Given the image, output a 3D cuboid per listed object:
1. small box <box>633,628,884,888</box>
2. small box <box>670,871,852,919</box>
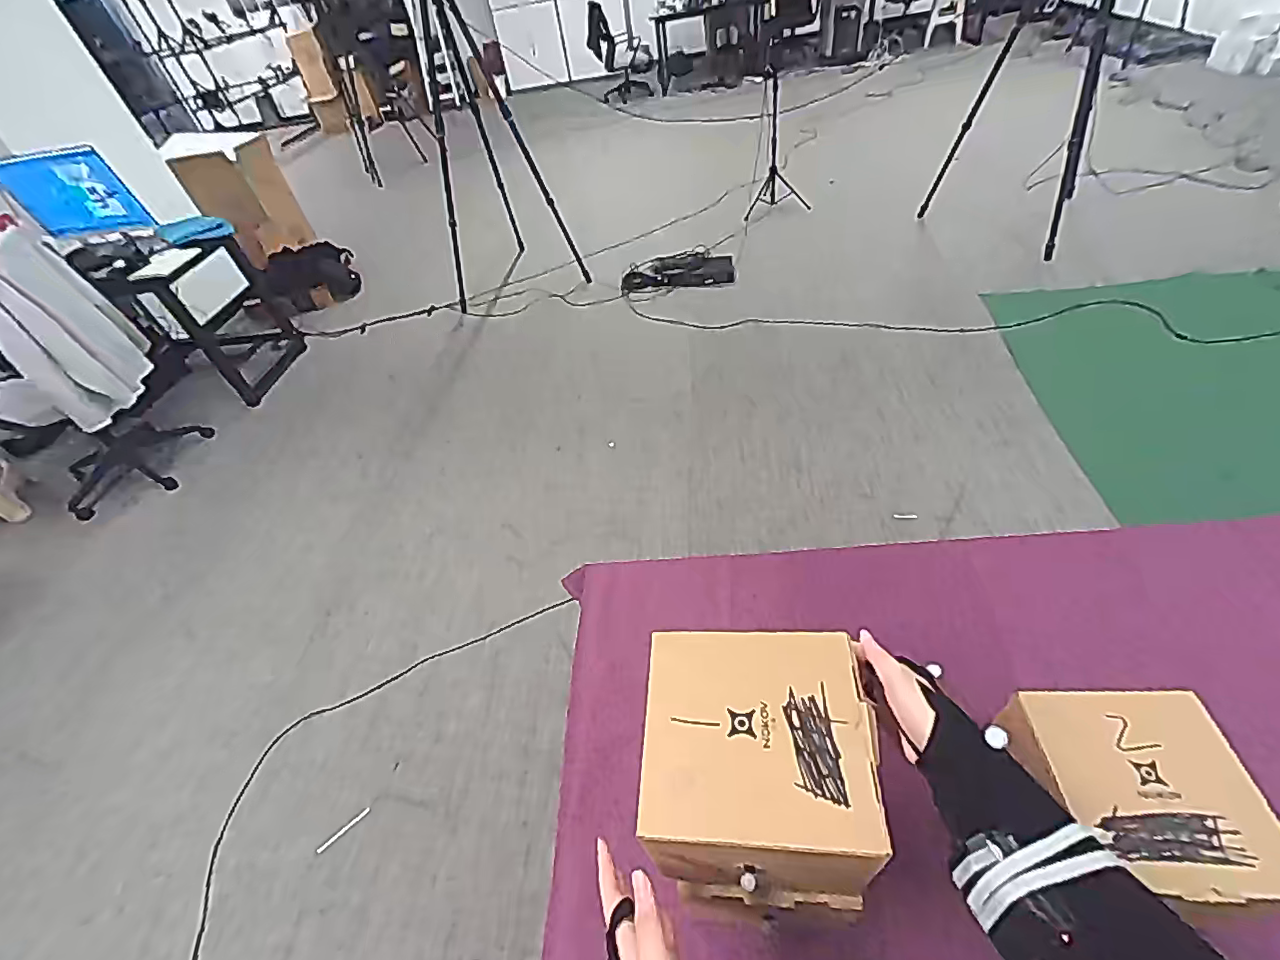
[{"bbox_3d":[0.099,0.250,0.488,0.179,0.176,0.168,-2,46,10],"label":"small box"},{"bbox_3d":[0.127,0.367,0.601,0.168,0.176,0.179,-2,47,9],"label":"small box"}]
